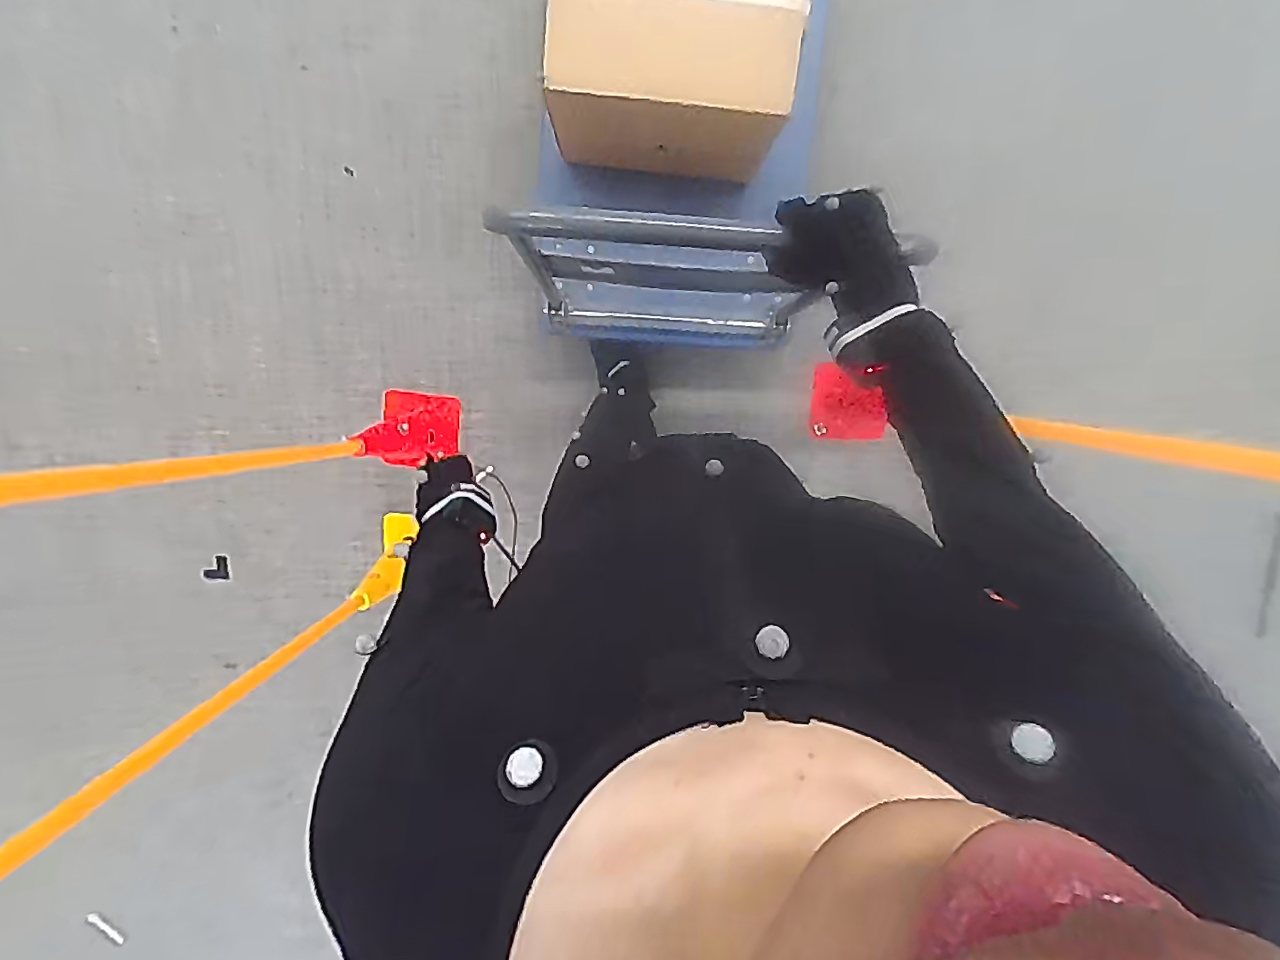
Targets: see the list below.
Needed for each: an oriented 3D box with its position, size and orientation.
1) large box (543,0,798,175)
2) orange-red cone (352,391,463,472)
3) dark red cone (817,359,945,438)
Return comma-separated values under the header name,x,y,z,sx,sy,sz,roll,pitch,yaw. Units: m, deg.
name,x,y,z,sx,sy,sz,roll,pitch,yaw
large box,0.053,-0.789,0.994,0.408,0.320,0.320,5,100,-1
orange-red cone,-0.568,-0.101,1.257,0.198,0.360,0.199,8,98,-3
dark red cone,0.564,-0.181,1.236,0.201,0.394,0.202,0,100,-3
